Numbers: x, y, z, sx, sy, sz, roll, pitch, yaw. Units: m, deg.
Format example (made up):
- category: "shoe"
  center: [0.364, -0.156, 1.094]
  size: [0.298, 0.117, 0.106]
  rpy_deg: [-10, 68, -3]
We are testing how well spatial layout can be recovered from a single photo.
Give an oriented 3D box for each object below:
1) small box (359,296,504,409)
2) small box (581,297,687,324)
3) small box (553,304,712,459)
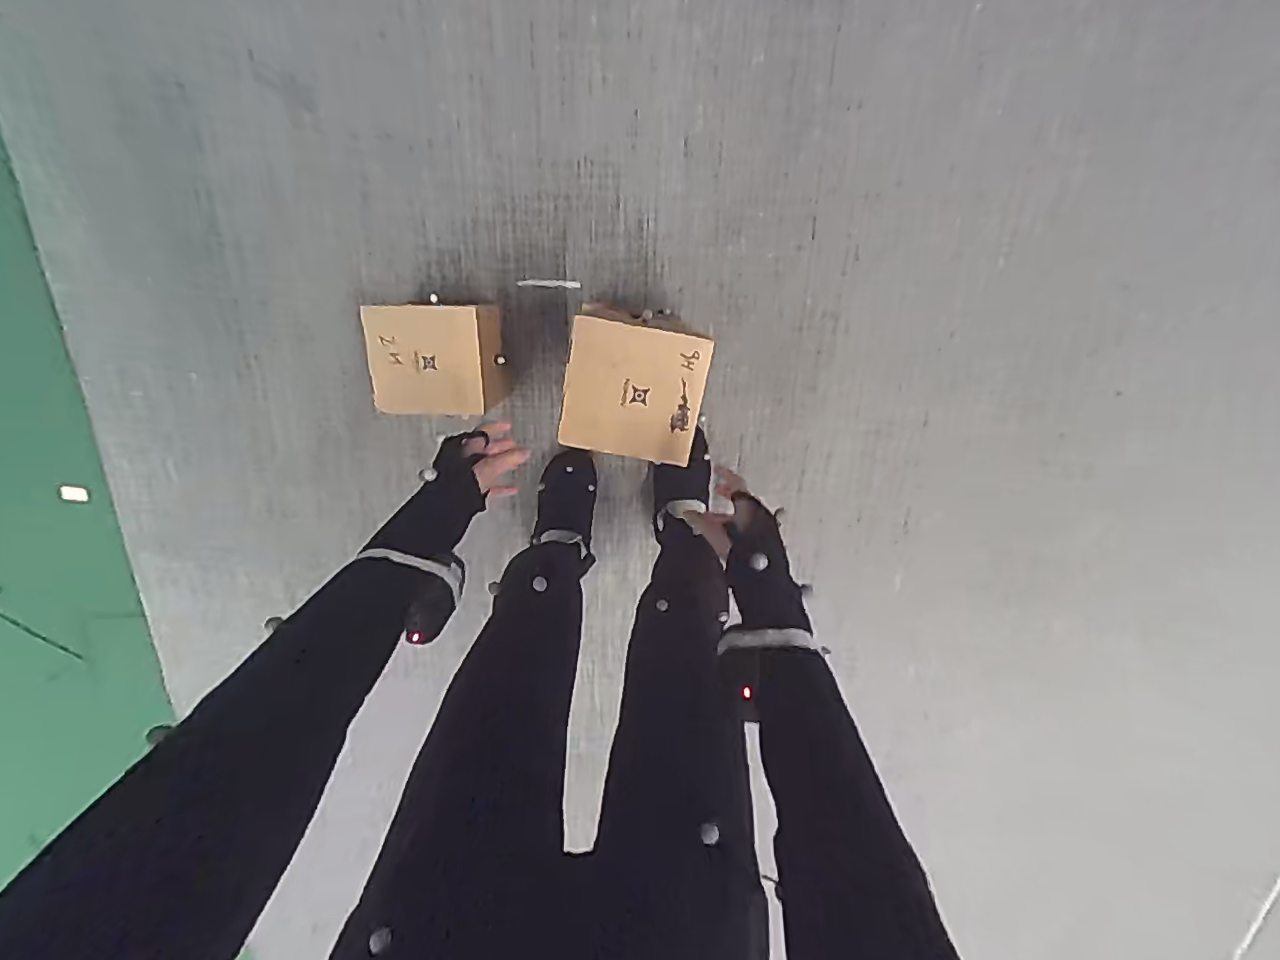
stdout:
- category: "small box"
  center: [-0.331, -0.217, 0.902]
  size: [0.179, 0.176, 0.168]
  rpy_deg: [1, 109, 1]
- category: "small box"
  center: [-0.025, -0.203, 0.908]
  size: [0.168, 0.176, 0.179]
  rpy_deg: [11, 109, -3]
- category: "small box"
  center: [-0.010, -0.144, 0.754]
  size: [0.179, 0.176, 0.168]
  rpy_deg: [11, 109, -3]
